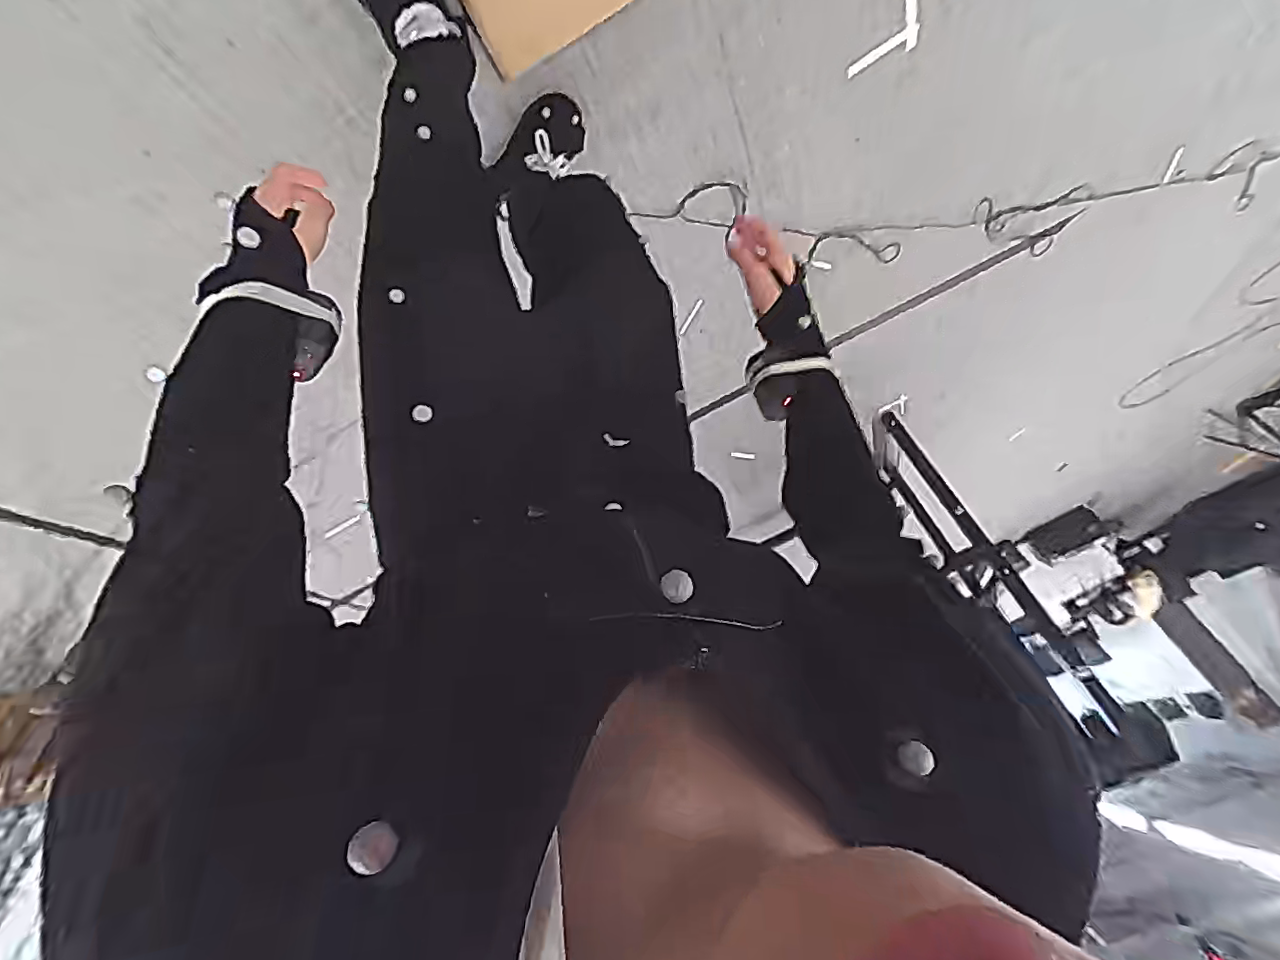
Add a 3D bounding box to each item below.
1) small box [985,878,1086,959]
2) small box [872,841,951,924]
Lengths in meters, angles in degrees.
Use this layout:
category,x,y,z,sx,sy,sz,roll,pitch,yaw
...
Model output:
category,x,y,z,sx,sy,sz,roll,pitch,yaw
small box,1.215,1.339,1.679,0.168,0.176,0.179,-25,150,6
small box,0.901,1.343,1.812,0.168,0.176,0.179,-26,150,6
